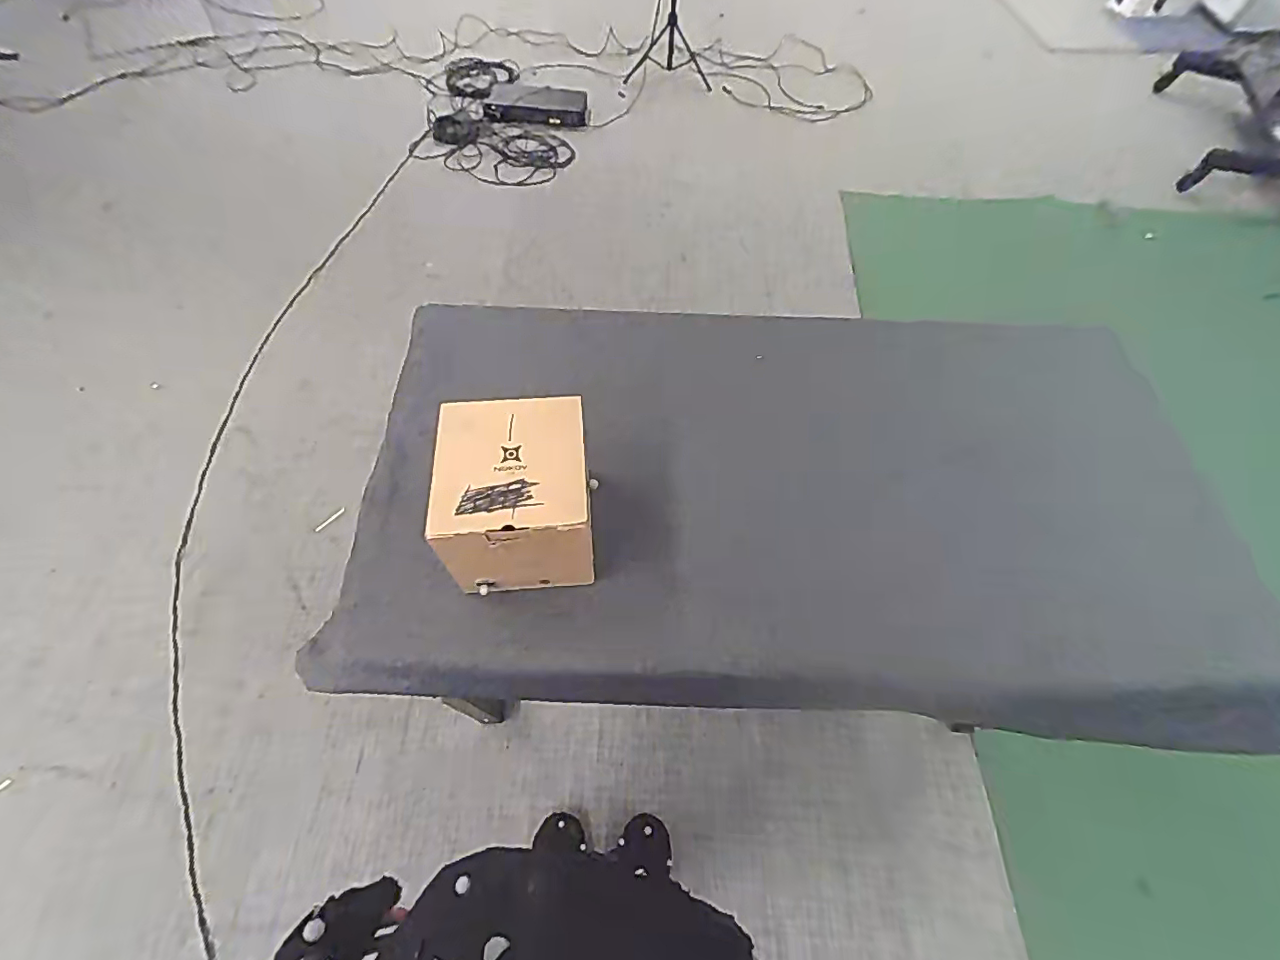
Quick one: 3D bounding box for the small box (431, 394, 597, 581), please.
[{"bbox_3d":[-0.142,0.017,0.668,0.168,0.176,0.179,-4,58,-4],"label":"small box"}]
